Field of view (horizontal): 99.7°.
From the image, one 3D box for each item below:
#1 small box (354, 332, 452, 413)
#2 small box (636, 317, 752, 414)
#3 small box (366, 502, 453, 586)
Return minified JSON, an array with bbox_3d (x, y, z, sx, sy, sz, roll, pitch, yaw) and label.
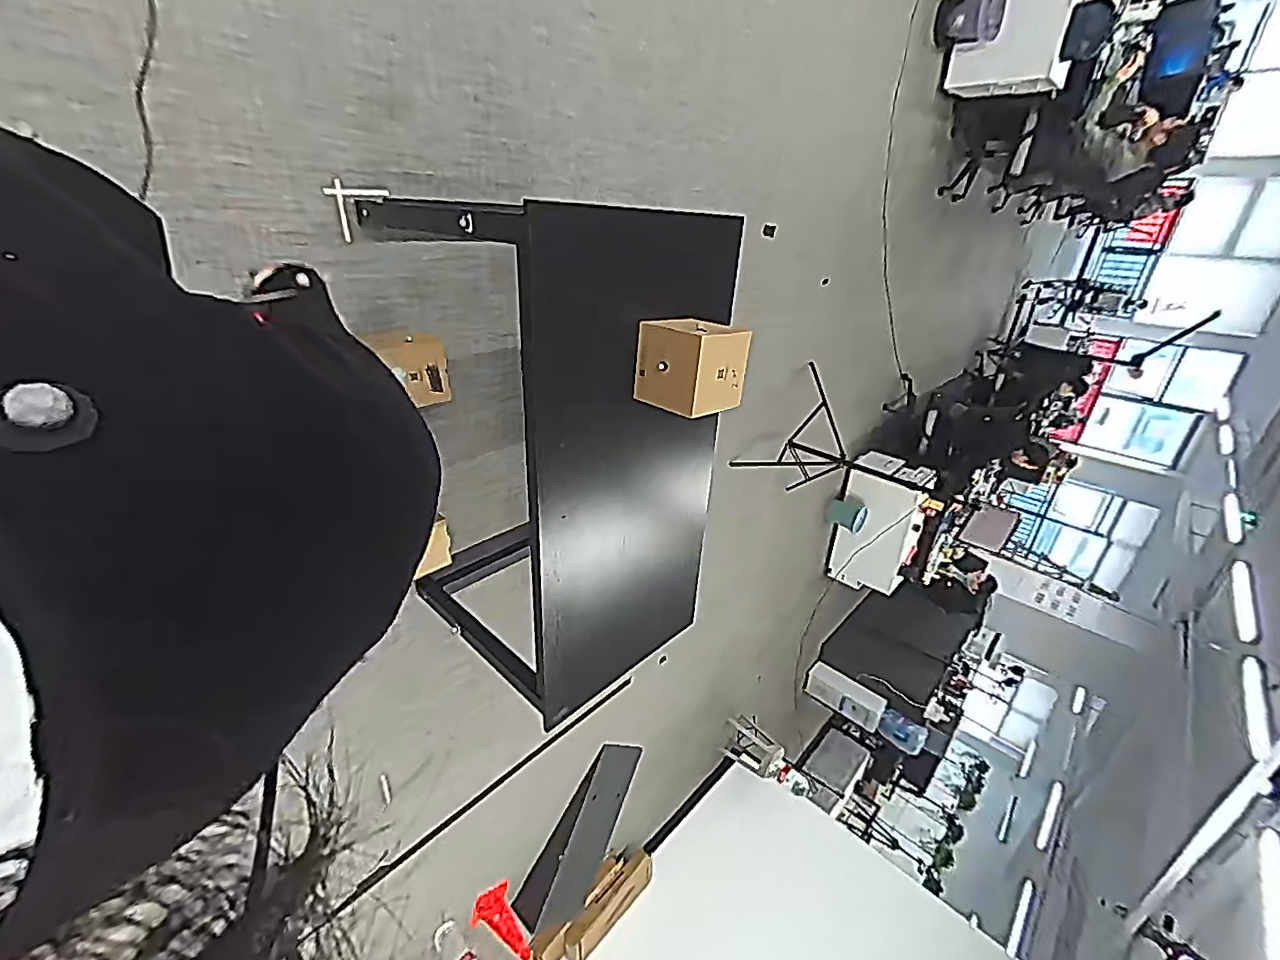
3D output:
[{"bbox_3d":[-0.633,-0.295,1.446,0.179,0.176,0.168,-23,126,-40],"label":"small box"},{"bbox_3d":[0.110,-0.250,1.155,0.179,0.176,0.168,-20,125,-44],"label":"small box"},{"bbox_3d":[-0.695,0.185,1.635,0.179,0.176,0.168,-24,126,-41],"label":"small box"}]
